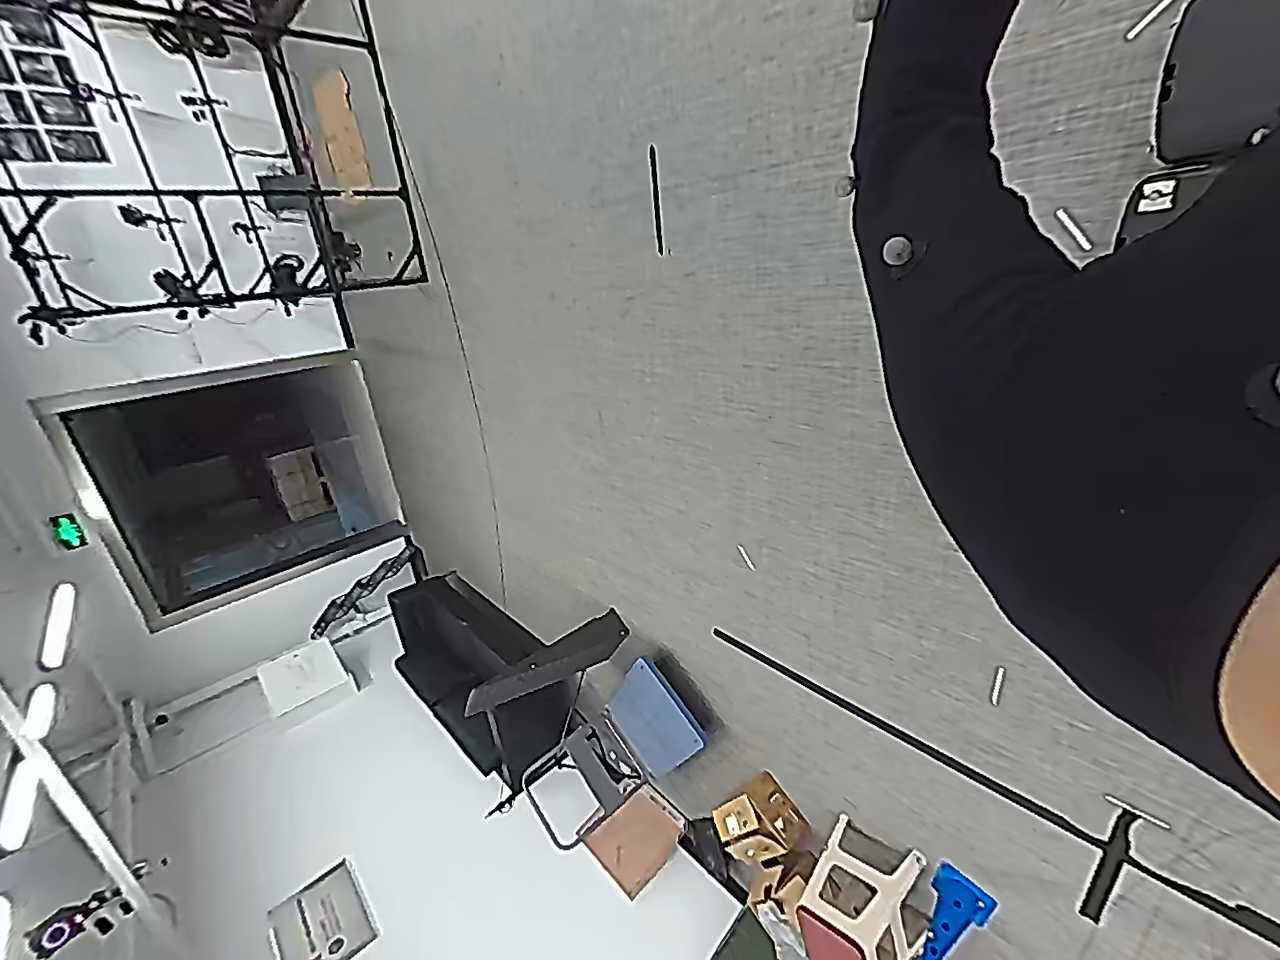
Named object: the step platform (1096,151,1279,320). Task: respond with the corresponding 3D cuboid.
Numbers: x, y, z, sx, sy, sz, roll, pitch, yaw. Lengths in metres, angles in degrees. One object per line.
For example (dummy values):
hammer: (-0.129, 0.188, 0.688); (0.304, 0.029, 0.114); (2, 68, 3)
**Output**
step platform: (1.231, -0.430, 0.927); (0.684, 0.204, 0.286); (17, 121, 47)
